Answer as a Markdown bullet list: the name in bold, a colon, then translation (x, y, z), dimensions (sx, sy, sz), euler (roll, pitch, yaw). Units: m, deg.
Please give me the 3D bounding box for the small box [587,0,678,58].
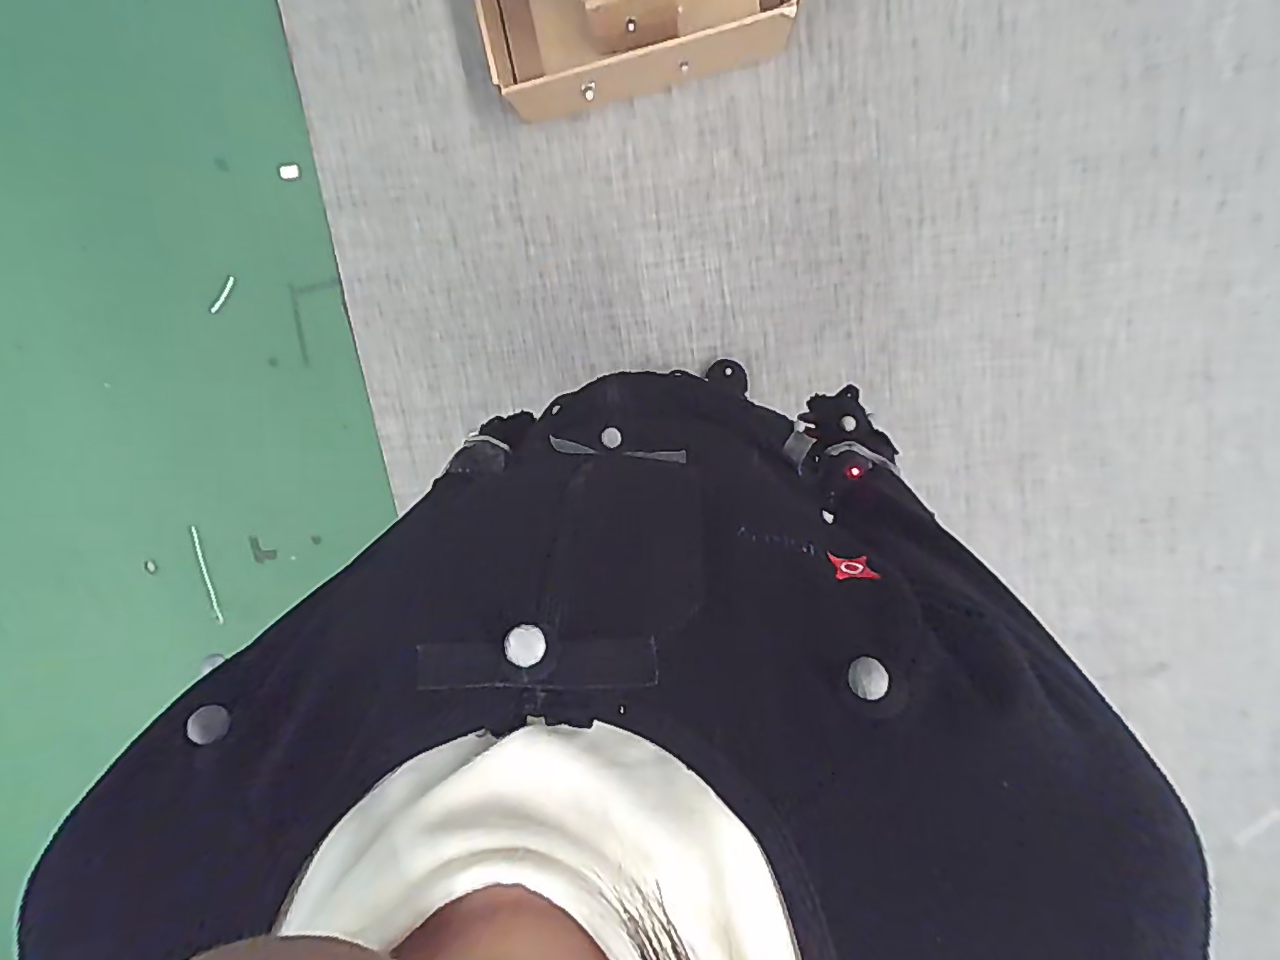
- **small box**: translation (-0.021, -1.002, 1.088), dimensions (0.179, 0.176, 0.168), euler (-10, 101, 8)
